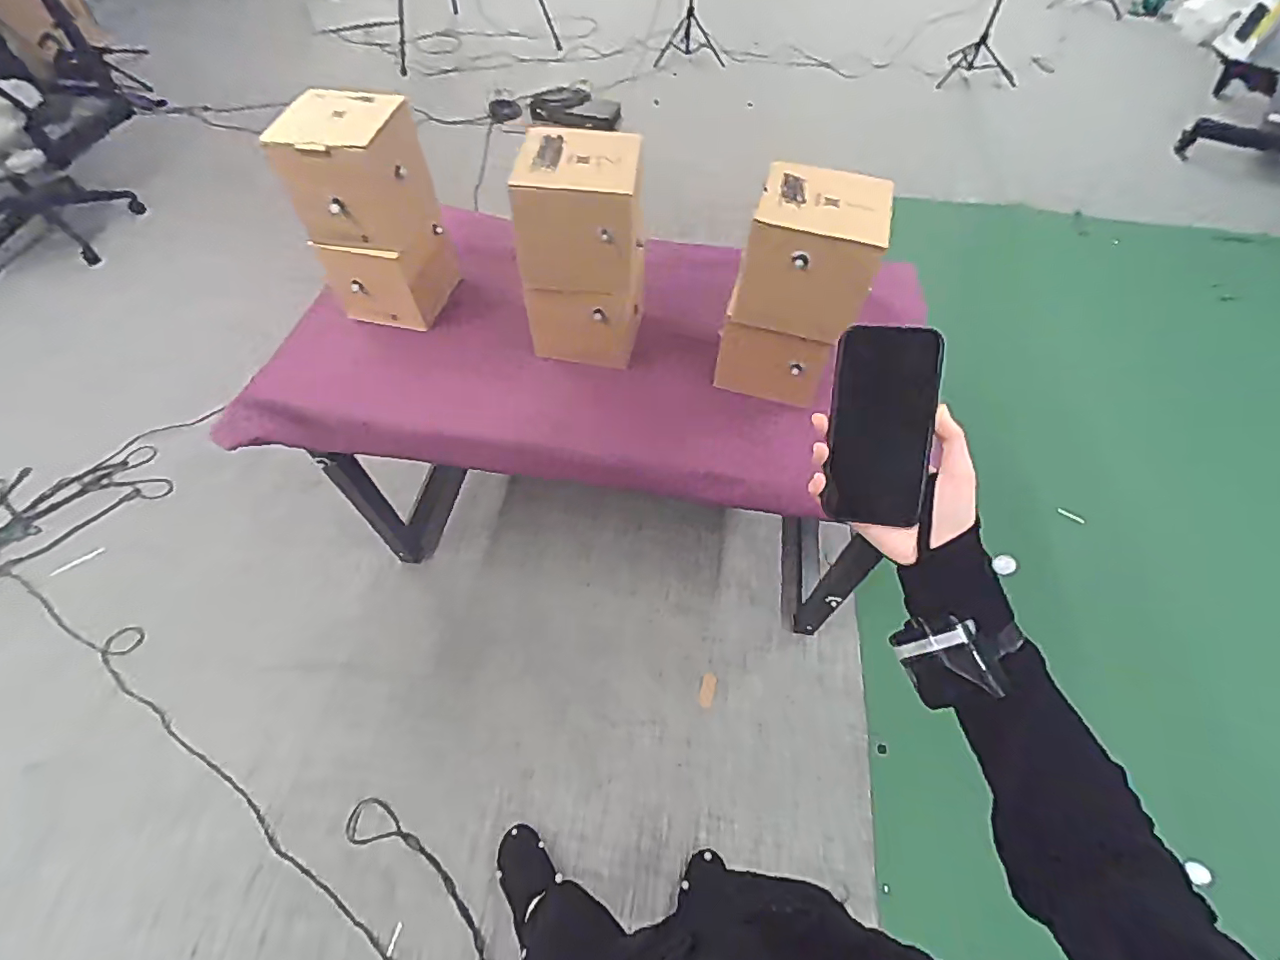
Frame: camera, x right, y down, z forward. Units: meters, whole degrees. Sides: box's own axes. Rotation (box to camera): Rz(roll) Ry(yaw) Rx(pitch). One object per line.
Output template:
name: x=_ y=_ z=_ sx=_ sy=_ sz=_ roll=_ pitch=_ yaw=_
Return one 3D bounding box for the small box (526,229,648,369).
small box: x=-0.088 y=-0.323 z=0.983 sx=0.179 sy=0.176 sz=0.168 roll=10 pitch=57 yaw=6

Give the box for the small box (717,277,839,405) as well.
small box: x=0.244 y=-0.254 z=0.941 sx=0.179 sy=0.176 sz=0.168 roll=15 pitch=57 yaw=10

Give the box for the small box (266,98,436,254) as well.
small box: x=-0.464 y=-0.503 z=0.904 sx=0.168 sy=0.176 sz=0.179 roll=6 pitch=57 yaw=3

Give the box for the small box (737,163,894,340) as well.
small box: x=0.250 y=-0.331 z=0.796 sx=0.179 sy=0.176 sz=0.168 roll=15 pitch=57 yaw=9

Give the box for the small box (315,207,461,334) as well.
small box: x=-0.466 y=-0.405 z=1.037 sx=0.168 sy=0.176 sz=0.179 roll=10 pitch=57 yaw=6
